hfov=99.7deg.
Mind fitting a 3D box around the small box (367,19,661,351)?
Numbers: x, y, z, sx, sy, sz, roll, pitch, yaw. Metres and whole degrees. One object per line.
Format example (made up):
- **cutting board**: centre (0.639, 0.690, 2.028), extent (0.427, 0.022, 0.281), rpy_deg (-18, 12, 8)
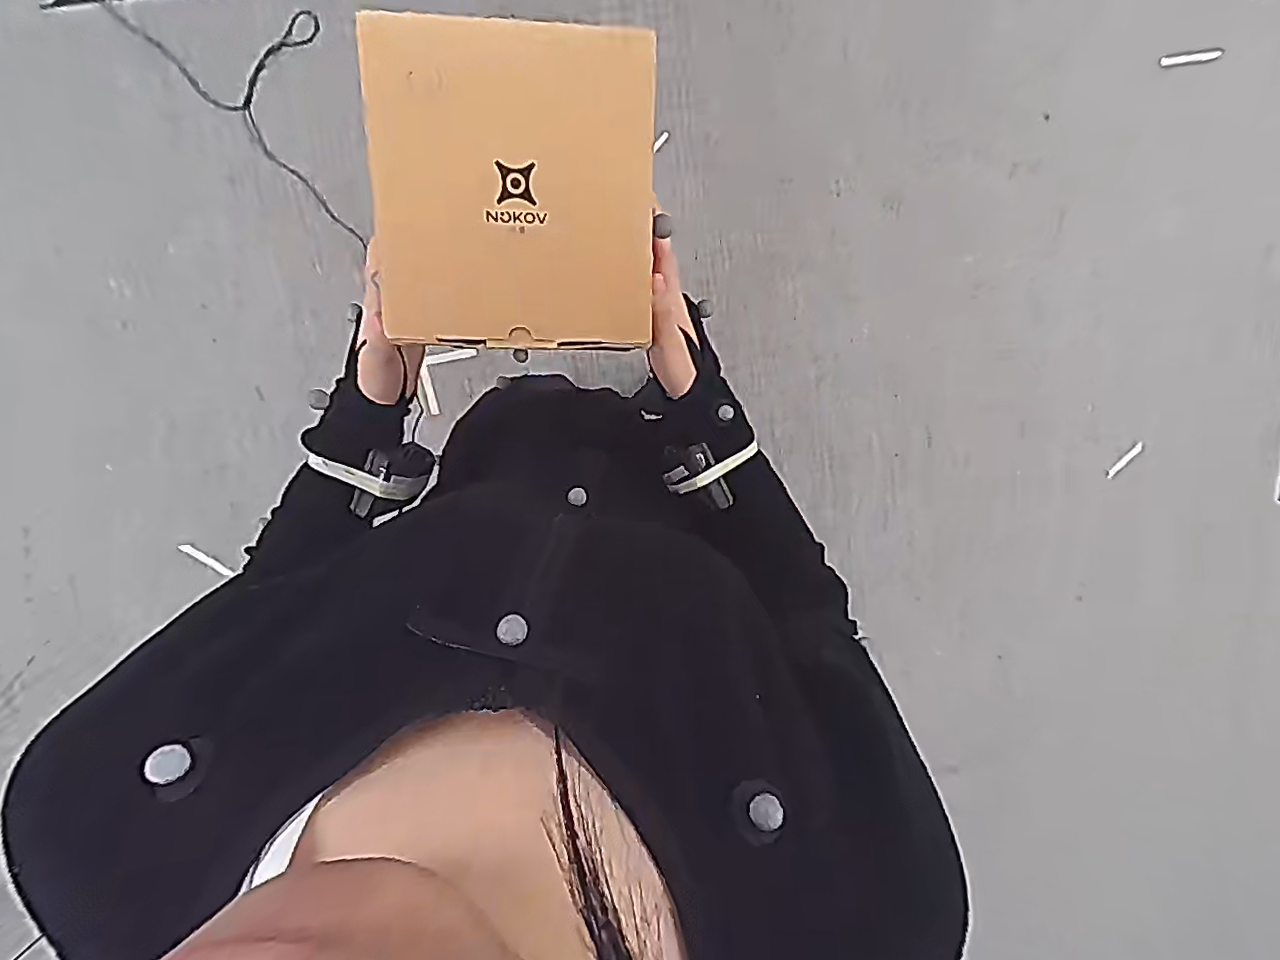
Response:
- **small box**: centre (-0.078, -0.186, 0.399), extent (0.168, 0.176, 0.179), rpy_deg (-1, 104, -5)
